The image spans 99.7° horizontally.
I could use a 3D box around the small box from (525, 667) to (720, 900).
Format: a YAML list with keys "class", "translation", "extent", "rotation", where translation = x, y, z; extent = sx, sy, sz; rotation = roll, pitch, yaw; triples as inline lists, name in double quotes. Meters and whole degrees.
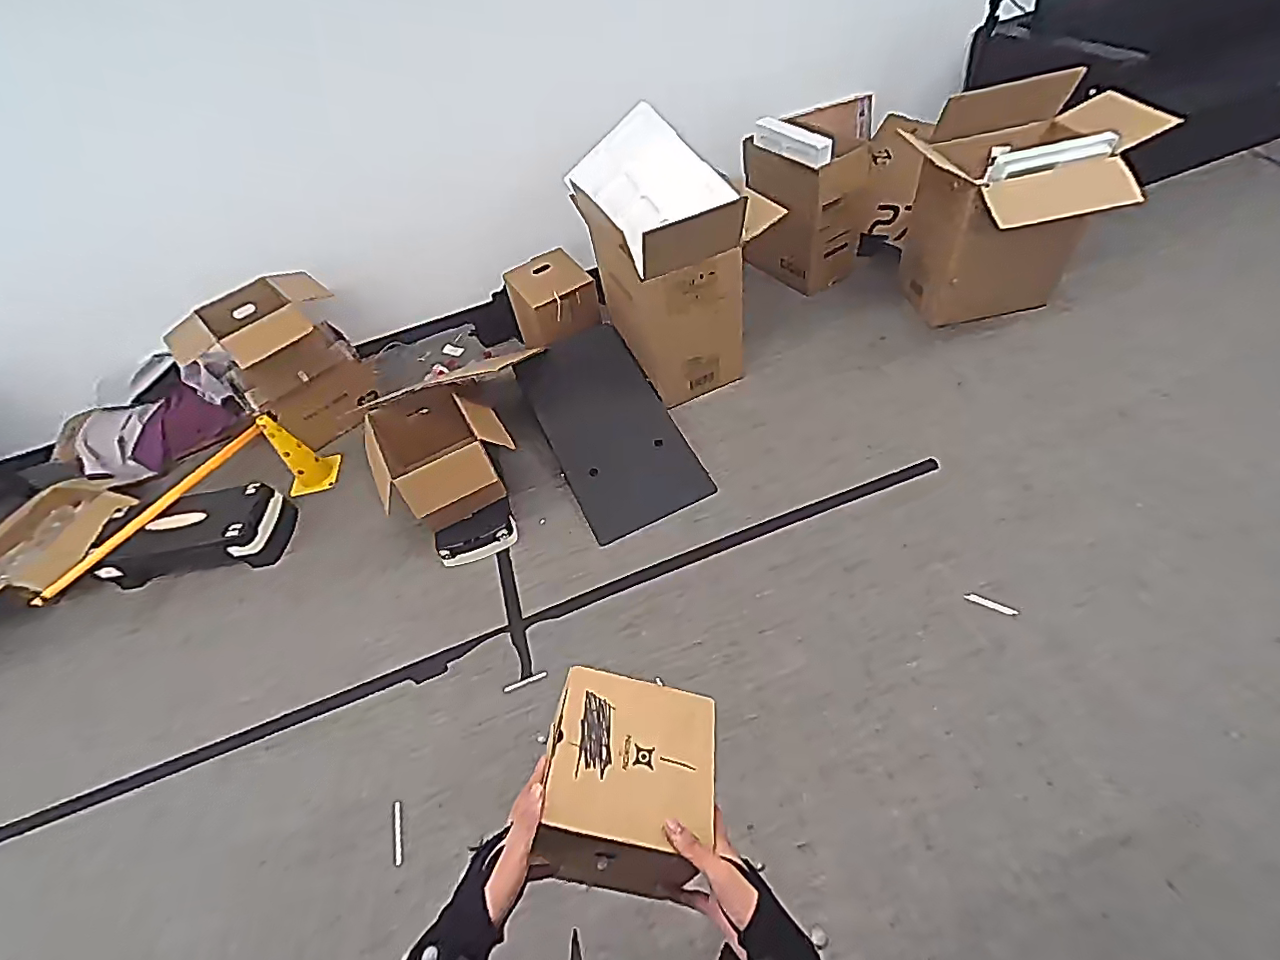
- class: "small box"
  translation: [-0.020, 0.343, 0.608]
  extent: [0.179, 0.176, 0.168]
  rotation: [16, 40, -5]
